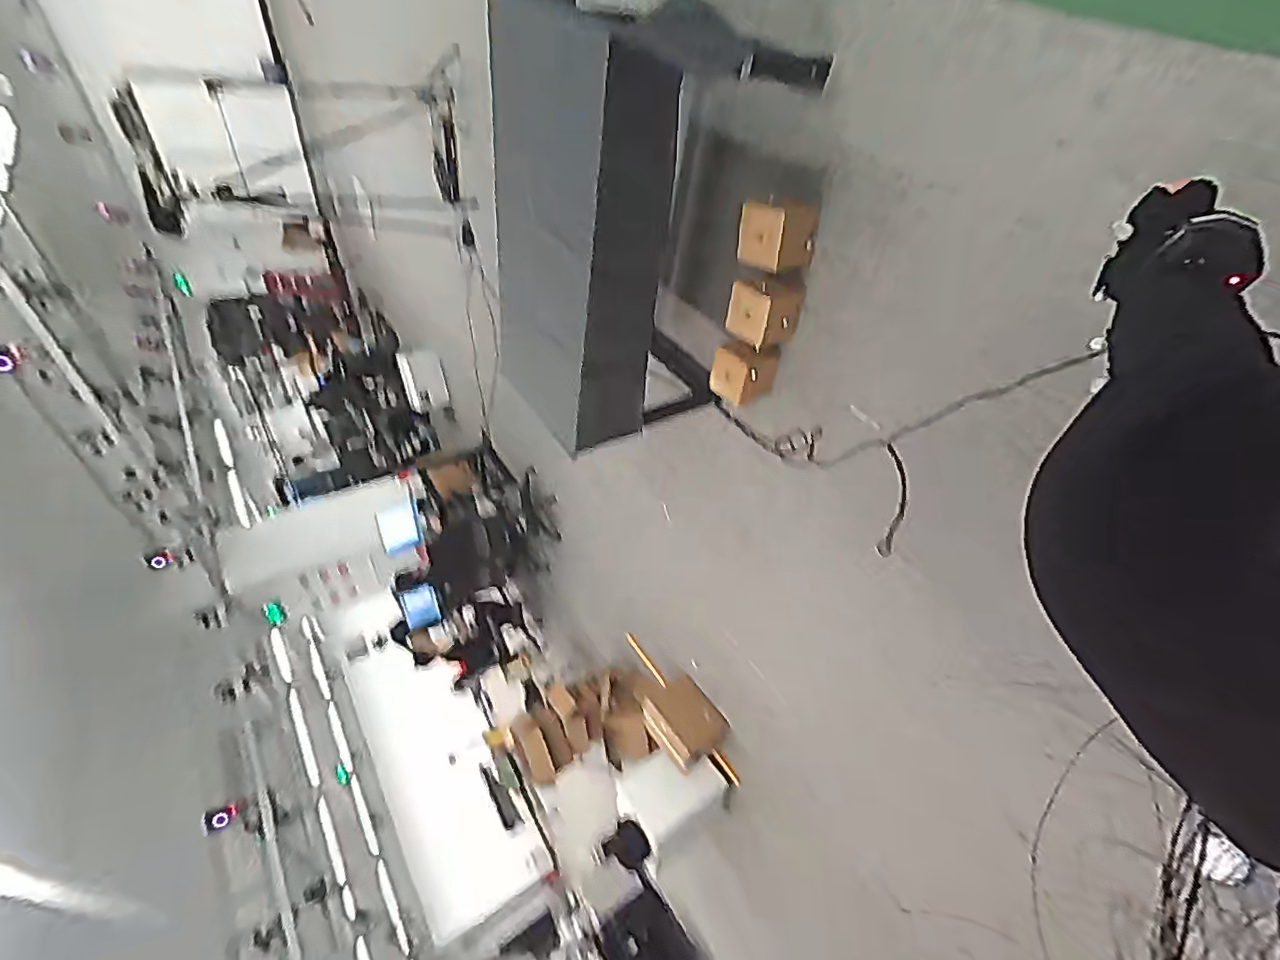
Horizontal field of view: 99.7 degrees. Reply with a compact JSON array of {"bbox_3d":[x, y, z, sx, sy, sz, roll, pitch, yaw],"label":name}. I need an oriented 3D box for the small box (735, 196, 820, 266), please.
[{"bbox_3d":[0.427,-0.783,1.691,0.179,0.176,0.168,41,141,40],"label":"small box"}]
